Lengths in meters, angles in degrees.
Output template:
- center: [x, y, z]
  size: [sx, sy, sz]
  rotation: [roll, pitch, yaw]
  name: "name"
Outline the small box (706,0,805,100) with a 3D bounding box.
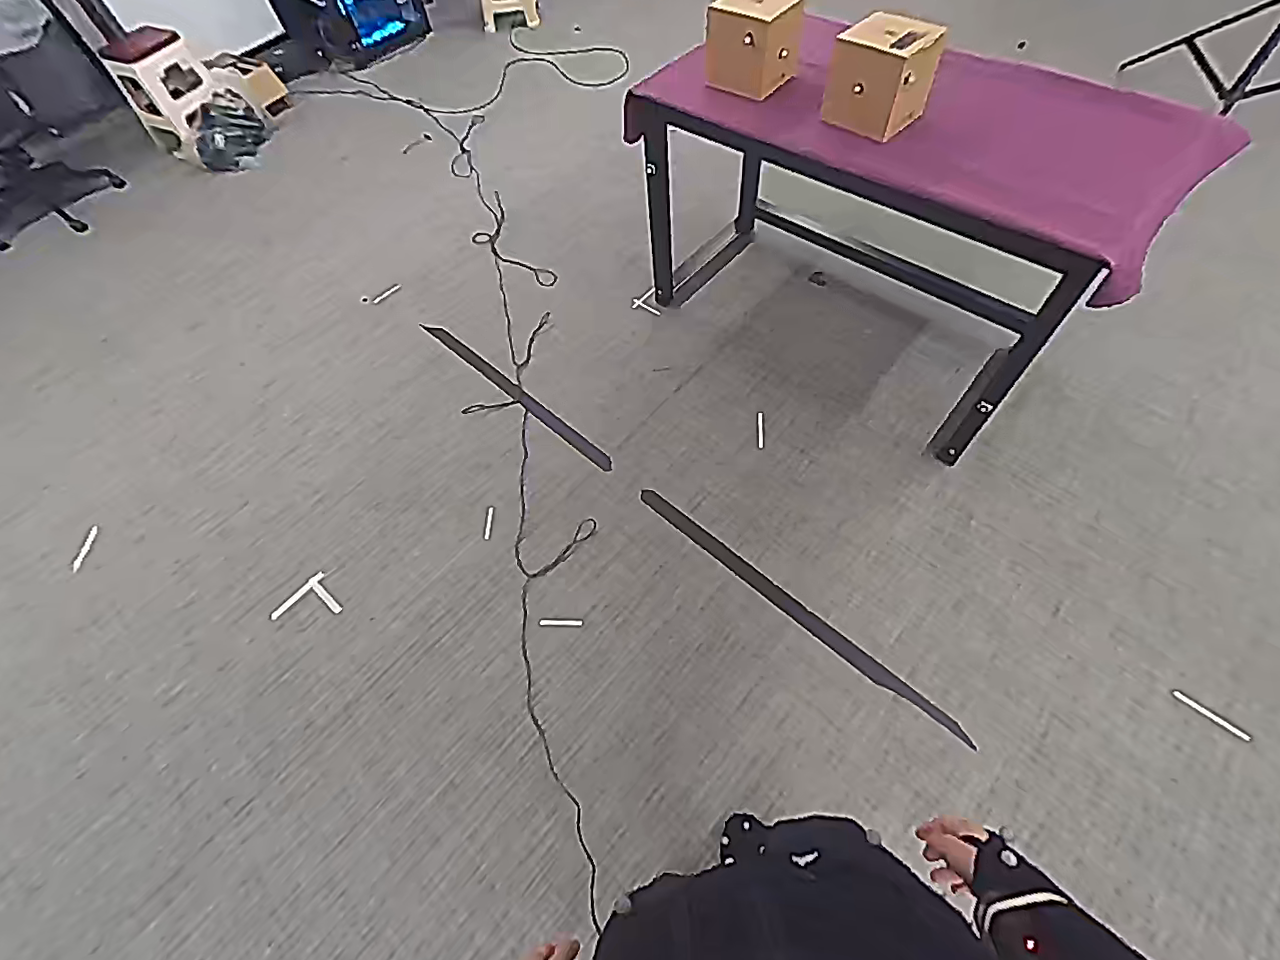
- center: [0.281, -1.089, 1.353]
  size: [0.179, 0.176, 0.168]
  rotation: [34, 66, 22]
  name: "small box"
